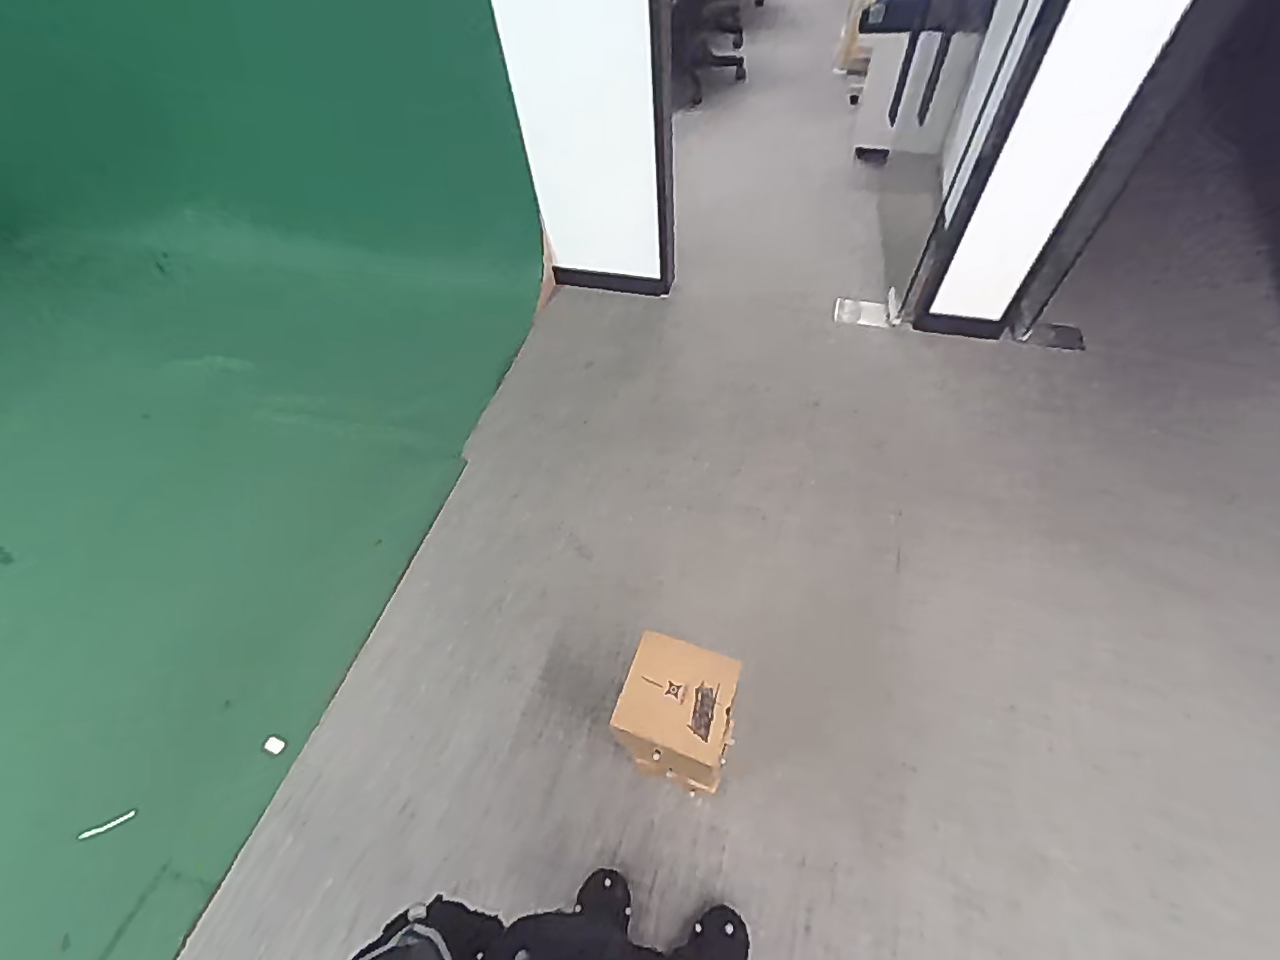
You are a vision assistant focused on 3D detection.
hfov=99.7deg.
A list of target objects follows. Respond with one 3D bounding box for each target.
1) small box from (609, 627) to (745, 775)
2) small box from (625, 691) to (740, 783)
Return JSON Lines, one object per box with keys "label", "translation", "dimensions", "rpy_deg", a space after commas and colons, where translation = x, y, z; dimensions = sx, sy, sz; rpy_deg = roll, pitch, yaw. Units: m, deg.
{"label": "small box", "translation": [0.067, 0.386, 0.933], "dimensions": [0.179, 0.176, 0.168], "rpy_deg": [18, 57, 17]}
{"label": "small box", "translation": [0.086, 0.481, 1.070], "dimensions": [0.179, 0.176, 0.168], "rpy_deg": [15, 58, 15]}
